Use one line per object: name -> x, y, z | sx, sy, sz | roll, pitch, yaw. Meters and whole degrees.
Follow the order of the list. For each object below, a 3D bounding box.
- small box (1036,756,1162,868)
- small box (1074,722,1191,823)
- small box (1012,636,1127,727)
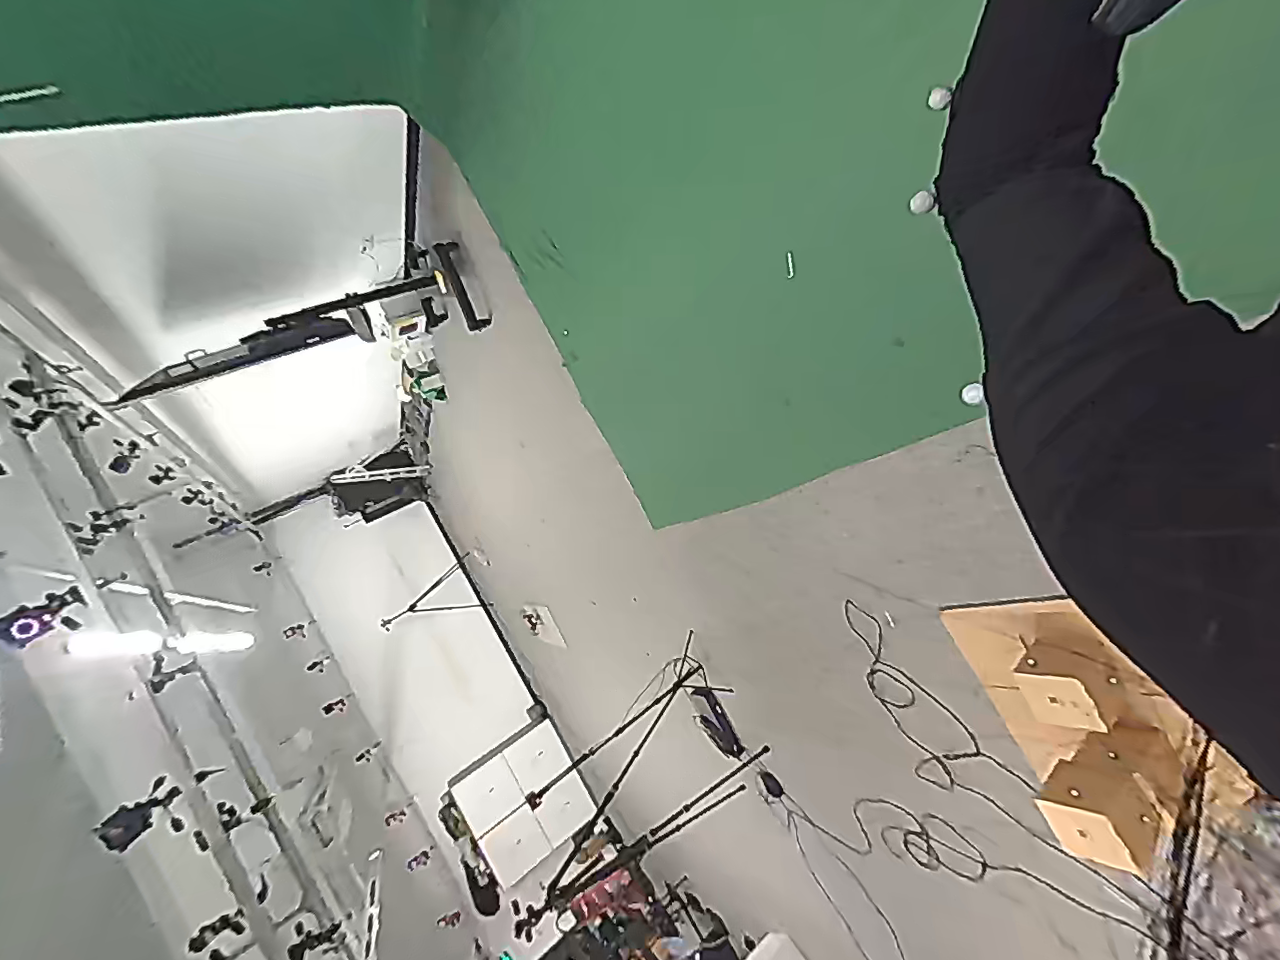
small box -> 1.210, 0.862, 1.428 | 0.168, 0.176, 0.179 | 60, 152, 3
small box -> 1.349, 0.788, 1.480 | 0.168, 0.176, 0.179 | 58, 152, 5
small box -> 1.202, 0.553, 1.512 | 0.168, 0.176, 0.179 | 60, 151, -1
